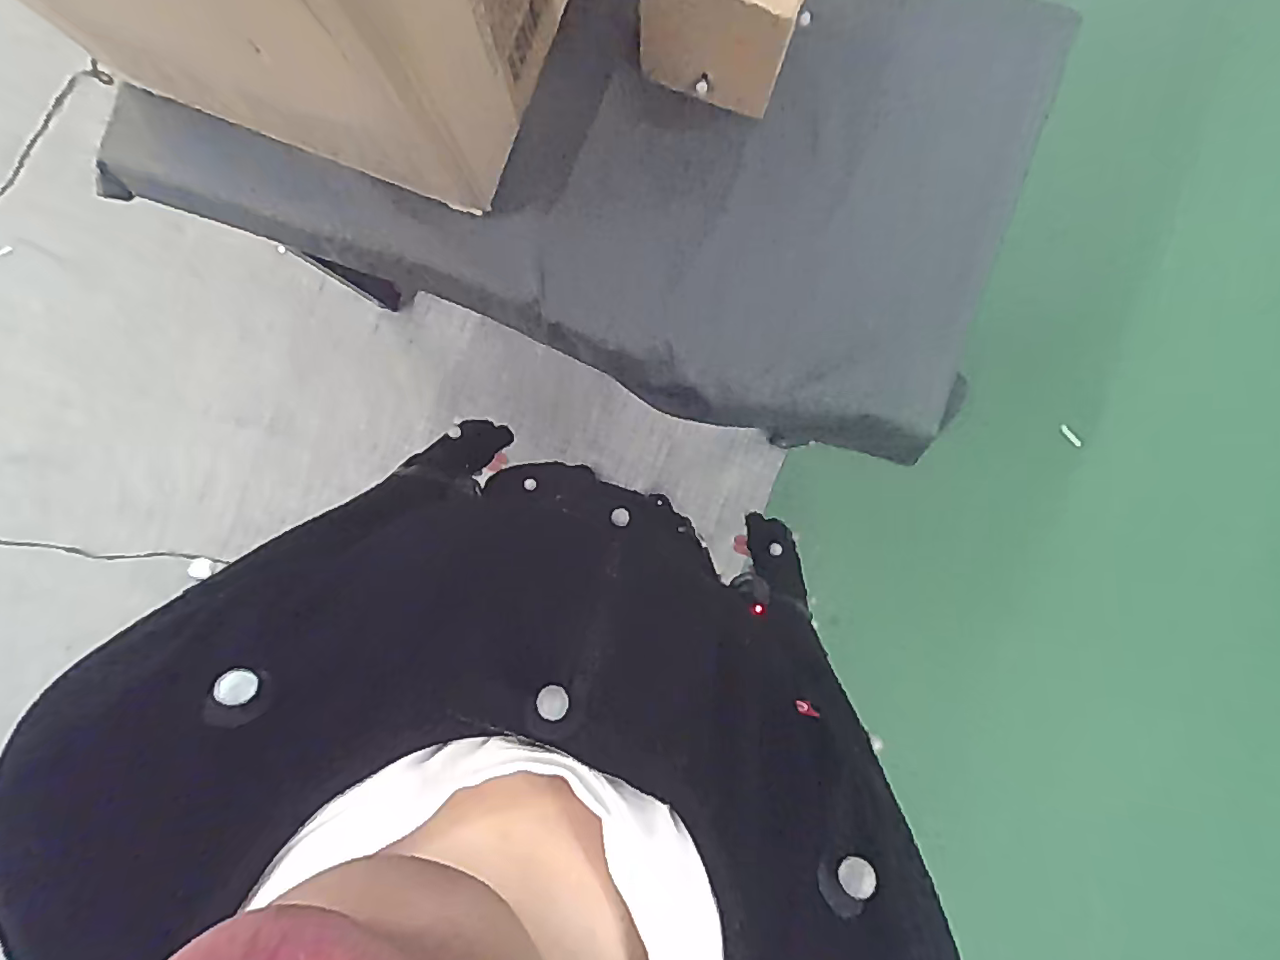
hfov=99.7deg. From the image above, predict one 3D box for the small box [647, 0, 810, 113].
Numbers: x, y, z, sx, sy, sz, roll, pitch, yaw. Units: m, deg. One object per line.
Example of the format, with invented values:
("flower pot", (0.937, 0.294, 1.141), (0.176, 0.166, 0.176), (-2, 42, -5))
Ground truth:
("small box", (0.116, -0.594, 0.656), (0.179, 0.176, 0.168), (20, 91, 0))
